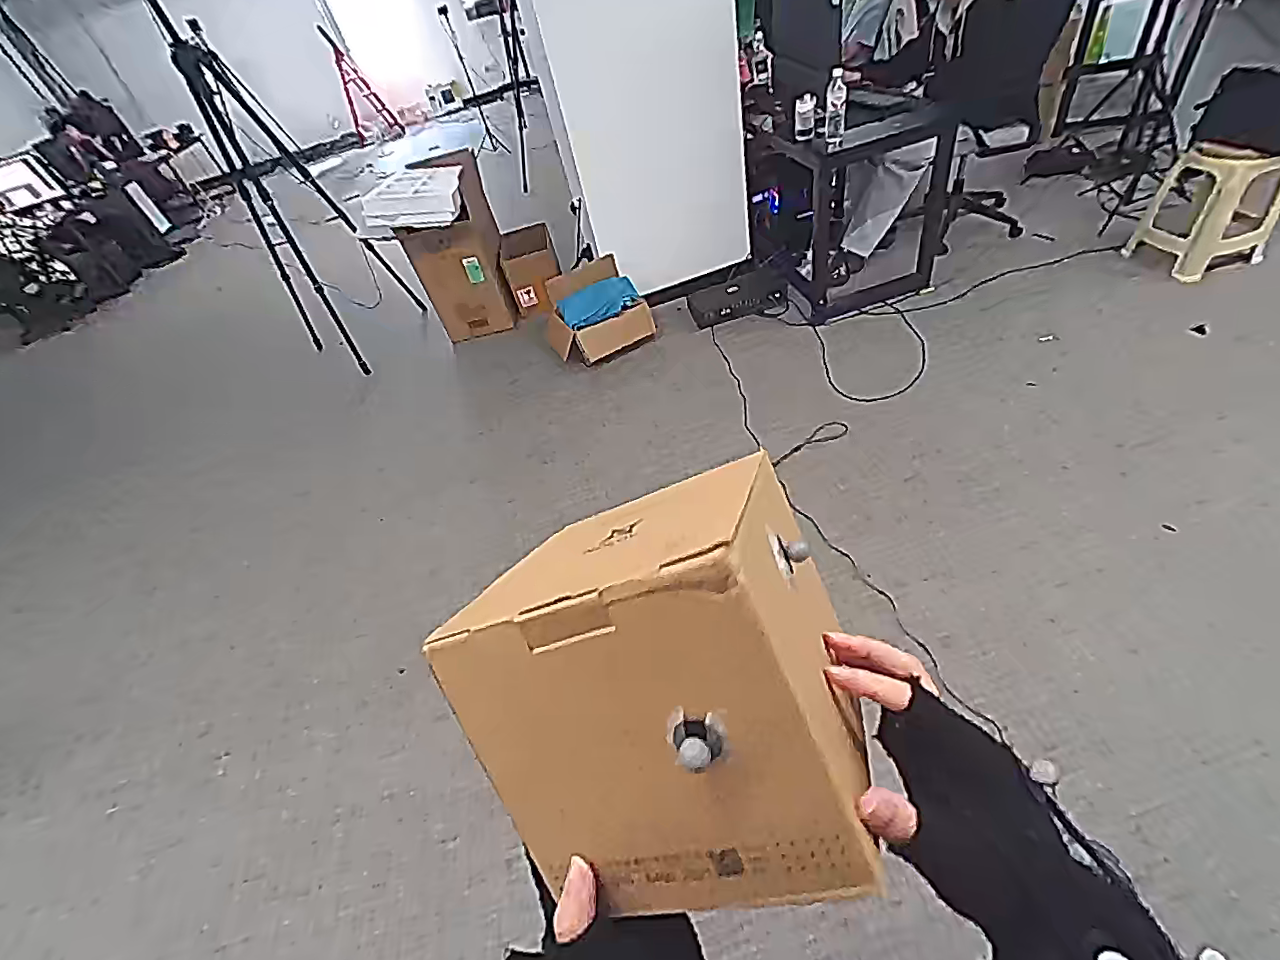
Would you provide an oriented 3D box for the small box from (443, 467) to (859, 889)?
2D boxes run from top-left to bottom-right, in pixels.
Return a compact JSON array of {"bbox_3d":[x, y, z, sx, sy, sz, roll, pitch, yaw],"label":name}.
[{"bbox_3d":[0.024,0.115,0.337,0.168,0.176,0.179,-22,7,23],"label":"small box"}]
